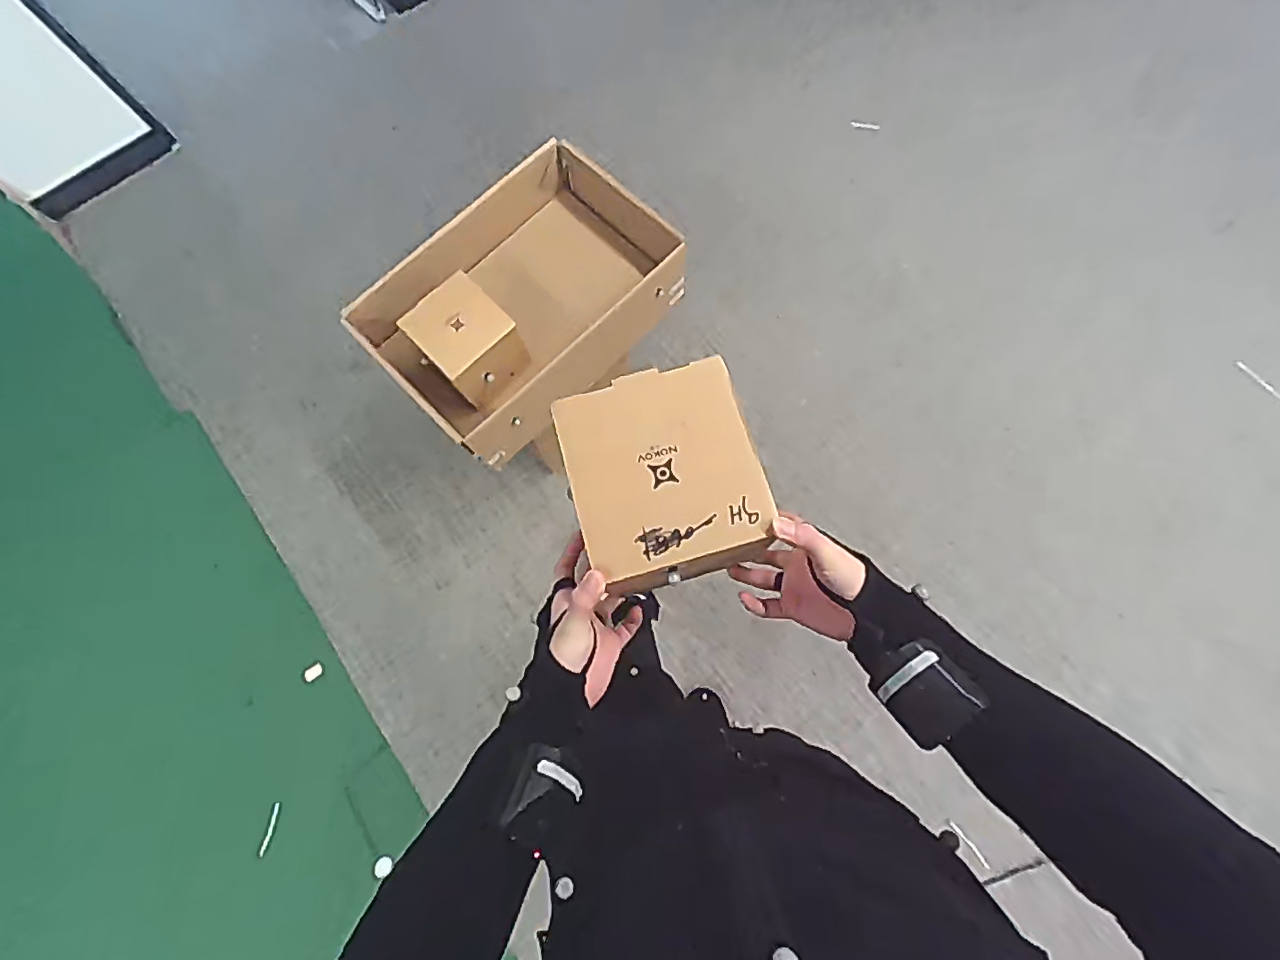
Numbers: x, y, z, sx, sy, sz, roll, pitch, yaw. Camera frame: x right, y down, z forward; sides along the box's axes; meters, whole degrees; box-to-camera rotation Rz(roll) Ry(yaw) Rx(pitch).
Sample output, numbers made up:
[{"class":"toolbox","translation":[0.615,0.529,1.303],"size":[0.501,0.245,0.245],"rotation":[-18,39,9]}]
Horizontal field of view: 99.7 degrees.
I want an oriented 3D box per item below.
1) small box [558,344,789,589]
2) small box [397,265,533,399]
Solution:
[{"class":"small box","translation":[0.028,-0.001,0.540],"size":[0.168,0.176,0.179],"rotation":[-16,73,0]},{"class":"small box","translation":[-0.344,-0.288,1.103],"size":[0.168,0.176,0.179],"rotation":[-44,78,-8]}]
